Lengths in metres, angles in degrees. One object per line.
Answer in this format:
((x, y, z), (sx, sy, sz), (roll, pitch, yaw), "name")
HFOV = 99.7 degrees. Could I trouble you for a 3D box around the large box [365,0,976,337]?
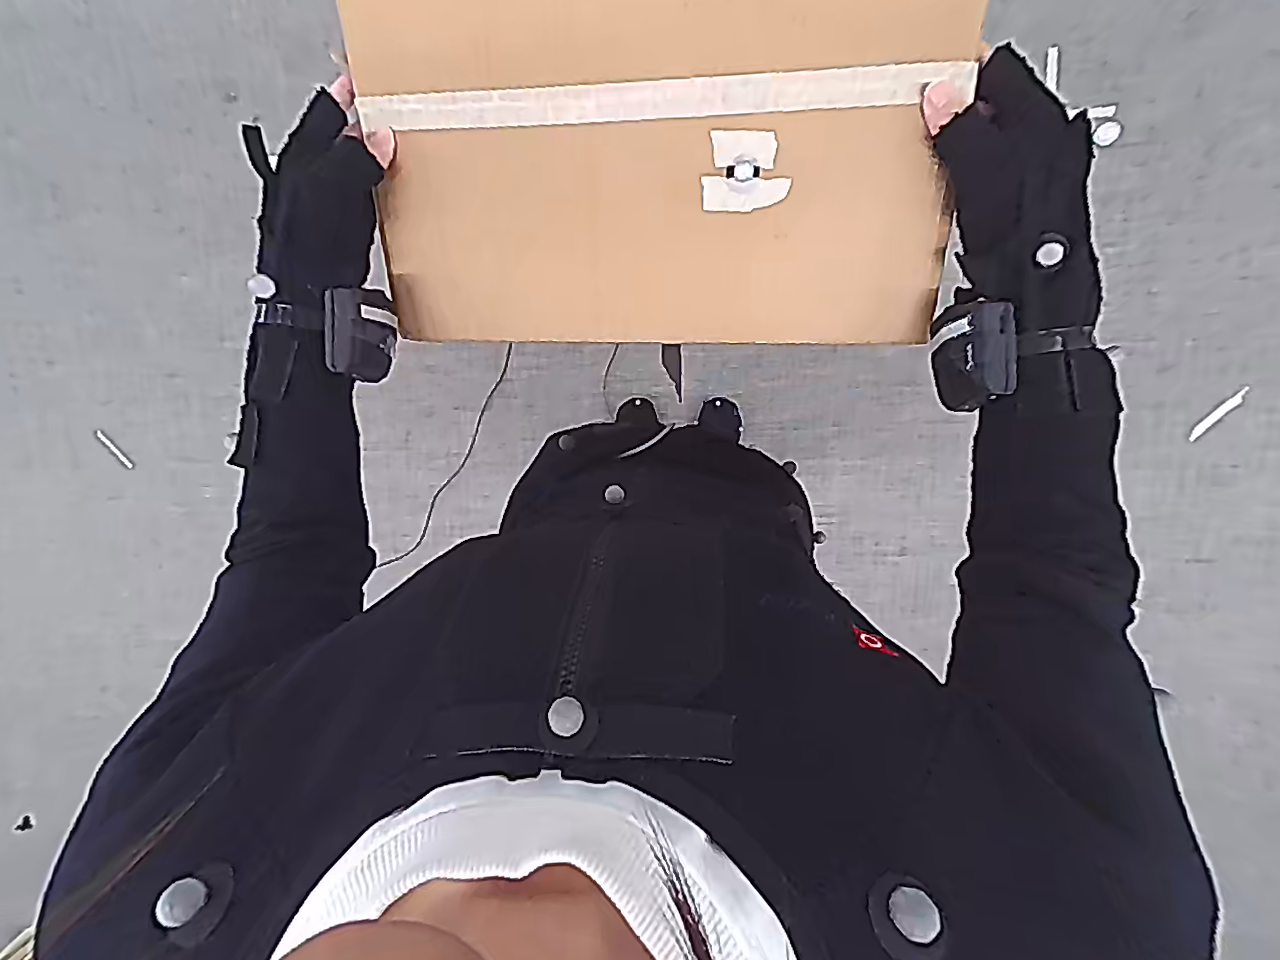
((0.027, -0.314, 0.506), (0.408, 0.320, 0.320), (2, 113, 7), "large box")
